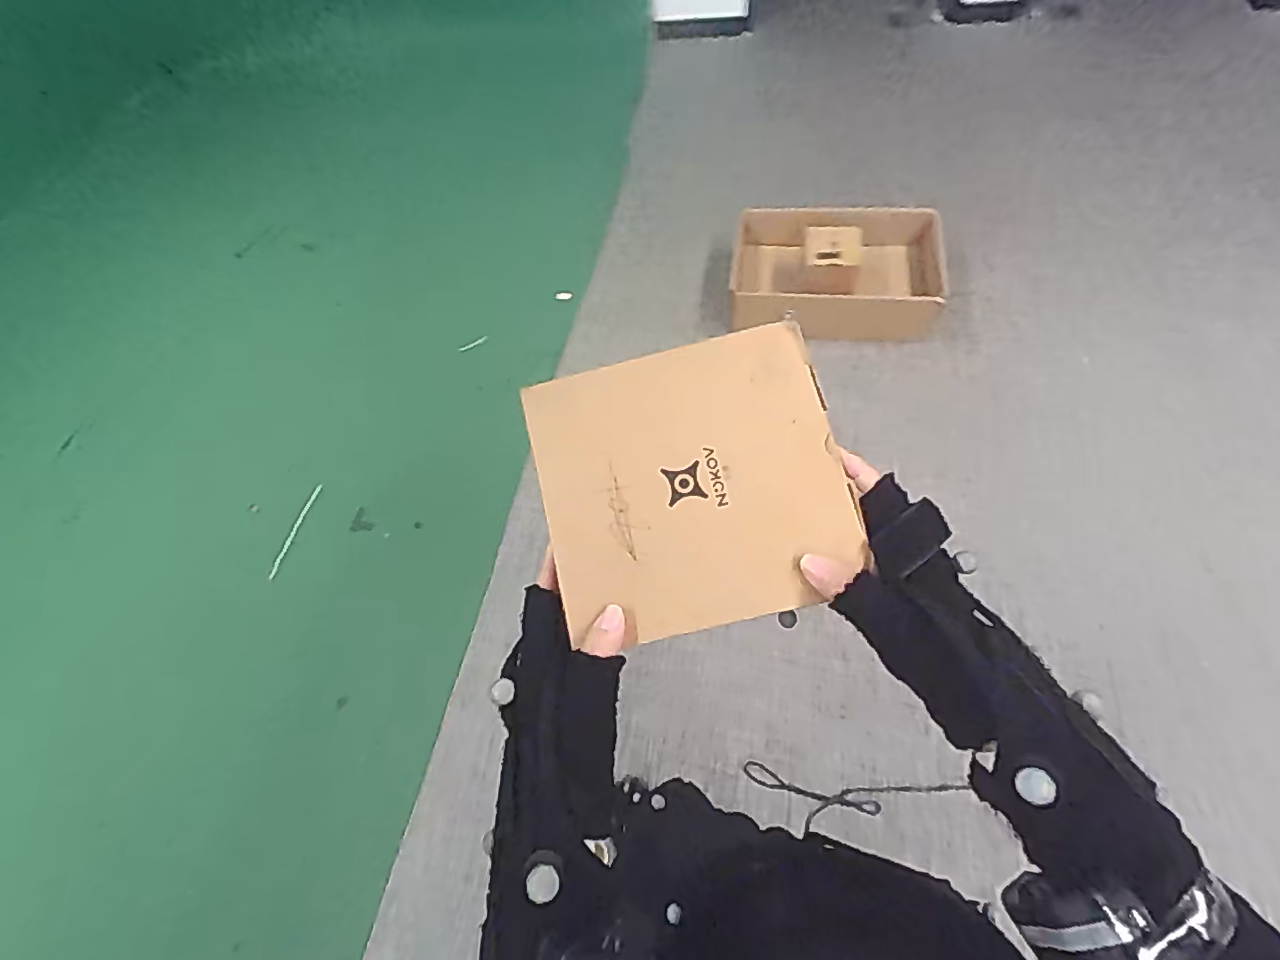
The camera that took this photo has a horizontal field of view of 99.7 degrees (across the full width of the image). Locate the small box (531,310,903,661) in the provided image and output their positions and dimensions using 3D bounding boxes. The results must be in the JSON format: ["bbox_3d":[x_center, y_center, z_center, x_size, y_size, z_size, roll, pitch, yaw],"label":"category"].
[{"bbox_3d":[0.044,0.013,0.384,0.179,0.176,0.168,-17,78,1],"label":"small box"}]

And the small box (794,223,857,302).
[{"bbox_3d":[0.588,-0.690,1.722,0.168,0.176,0.179,5,62,10],"label":"small box"}]
